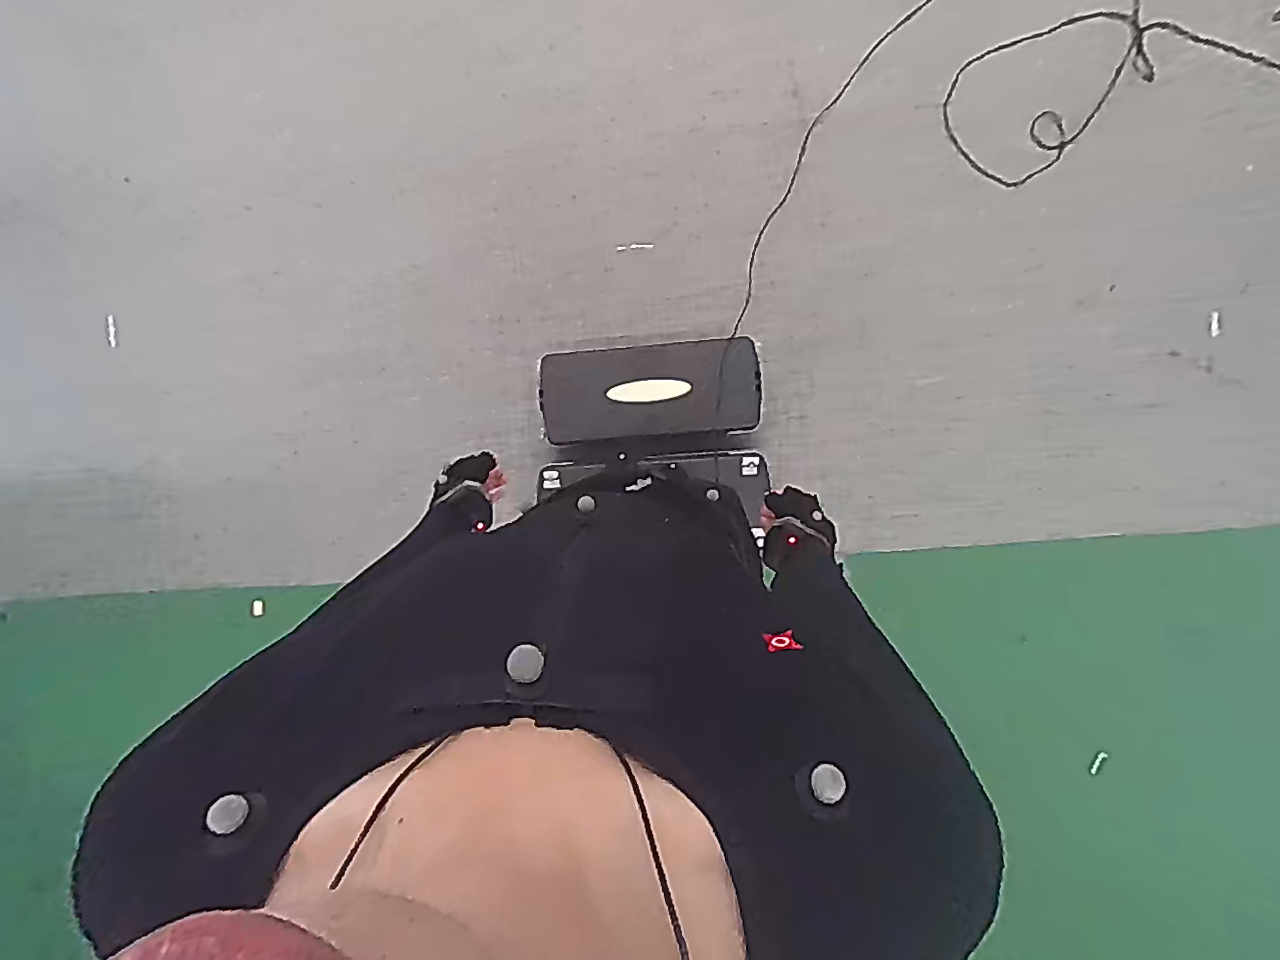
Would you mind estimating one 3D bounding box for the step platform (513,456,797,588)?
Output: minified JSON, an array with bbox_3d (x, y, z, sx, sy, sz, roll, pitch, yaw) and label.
[{"bbox_3d":[0.036,0.102,1.391,0.684,0.204,0.286,-4,91,2],"label":"step platform"}]
